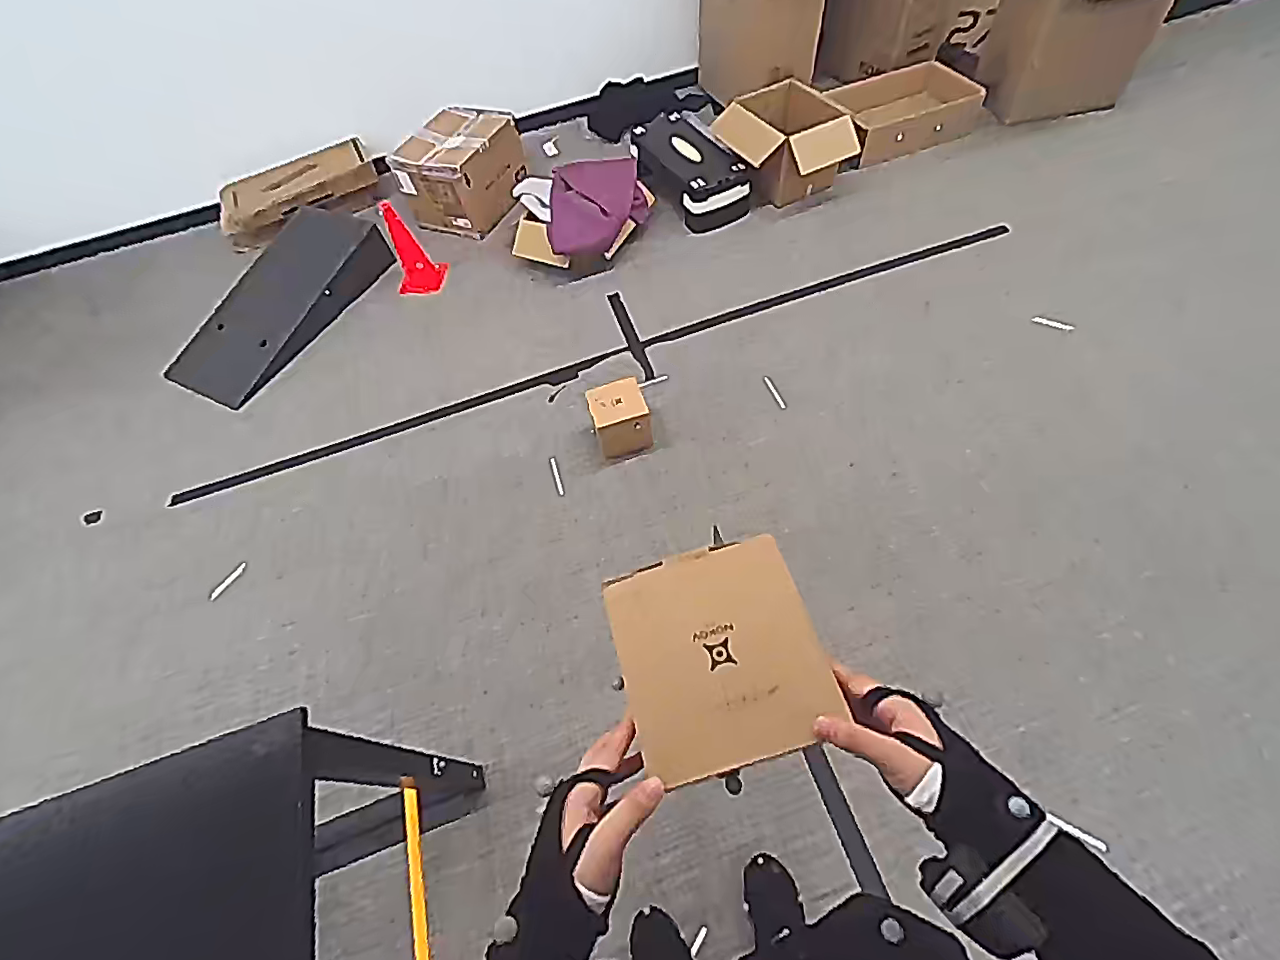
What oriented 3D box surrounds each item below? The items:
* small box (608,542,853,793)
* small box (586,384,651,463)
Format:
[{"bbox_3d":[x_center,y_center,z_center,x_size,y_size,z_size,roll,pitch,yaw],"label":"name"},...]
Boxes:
[{"bbox_3d":[0.073,0.188,0.527,0.168,0.176,0.179,-15,60,-4],"label":"small box"},{"bbox_3d":[-0.066,-0.183,1.791,0.179,0.176,0.168,-18,57,-4],"label":"small box"}]
